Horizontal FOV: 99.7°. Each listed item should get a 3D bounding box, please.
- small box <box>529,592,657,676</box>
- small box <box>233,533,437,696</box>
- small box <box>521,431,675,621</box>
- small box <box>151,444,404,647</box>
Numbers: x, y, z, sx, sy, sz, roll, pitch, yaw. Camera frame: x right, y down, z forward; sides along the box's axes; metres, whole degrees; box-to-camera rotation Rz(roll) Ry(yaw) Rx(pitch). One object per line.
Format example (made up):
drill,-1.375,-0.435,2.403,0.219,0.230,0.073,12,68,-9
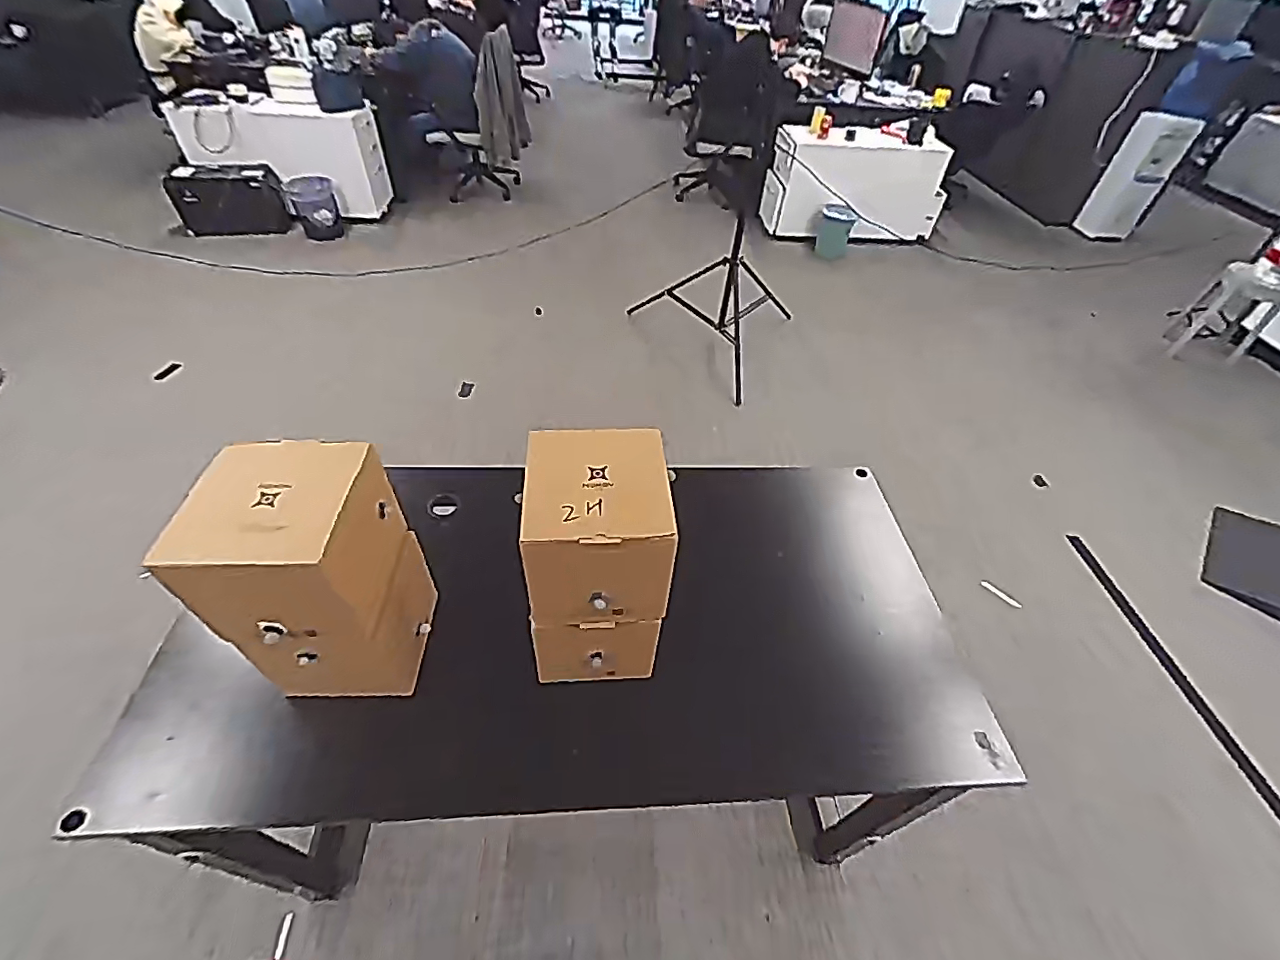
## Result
small box,-0.067,0.176,0.796,0.168,0.176,0.179,-1,46,-6
small box,-0.403,0.189,0.753,0.179,0.176,0.168,1,46,-5
small box,-0.055,0.057,0.681,0.168,0.176,0.179,-2,46,-6
small box,-0.395,0.077,0.635,0.168,0.176,0.179,-1,47,-4
